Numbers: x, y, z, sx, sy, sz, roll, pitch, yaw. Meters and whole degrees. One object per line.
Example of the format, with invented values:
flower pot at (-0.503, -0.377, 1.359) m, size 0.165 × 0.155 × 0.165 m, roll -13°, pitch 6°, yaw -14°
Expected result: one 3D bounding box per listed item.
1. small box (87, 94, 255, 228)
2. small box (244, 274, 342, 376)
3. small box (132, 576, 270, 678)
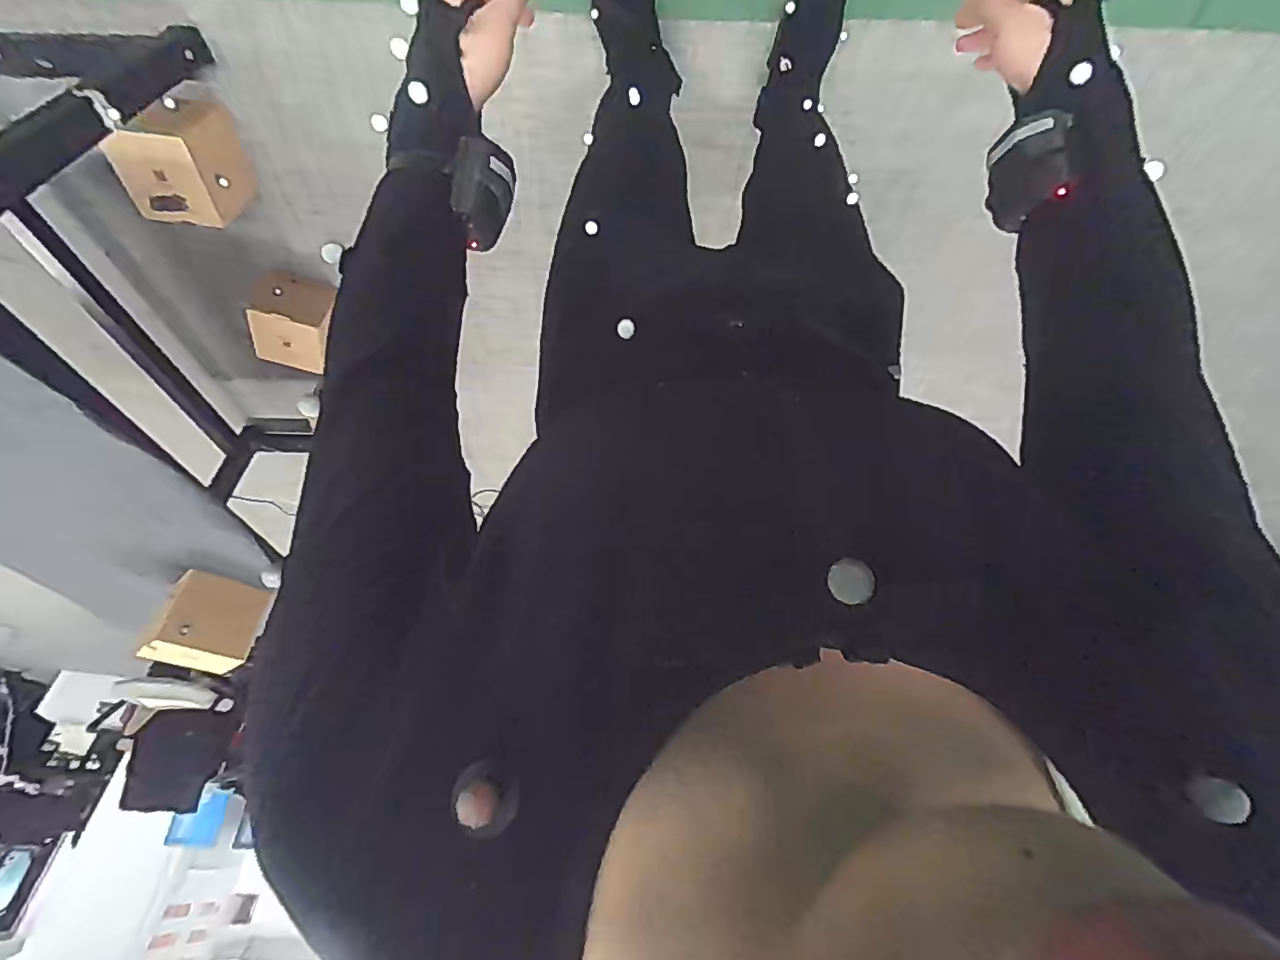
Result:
small box at (-0.940, -0.652, 1.109) m, size 0.168 × 0.176 × 0.179 m, roll 4°, pitch 143°, yaw -5°
small box at (-0.911, -0.413, 1.437) m, size 0.168 × 0.176 × 0.179 m, roll 14°, pitch 143°, yaw -16°
small box at (-0.993, 0.338, 1.237) m, size 0.168 × 0.176 × 0.179 m, roll -27°, pitch 135°, yaw 33°
